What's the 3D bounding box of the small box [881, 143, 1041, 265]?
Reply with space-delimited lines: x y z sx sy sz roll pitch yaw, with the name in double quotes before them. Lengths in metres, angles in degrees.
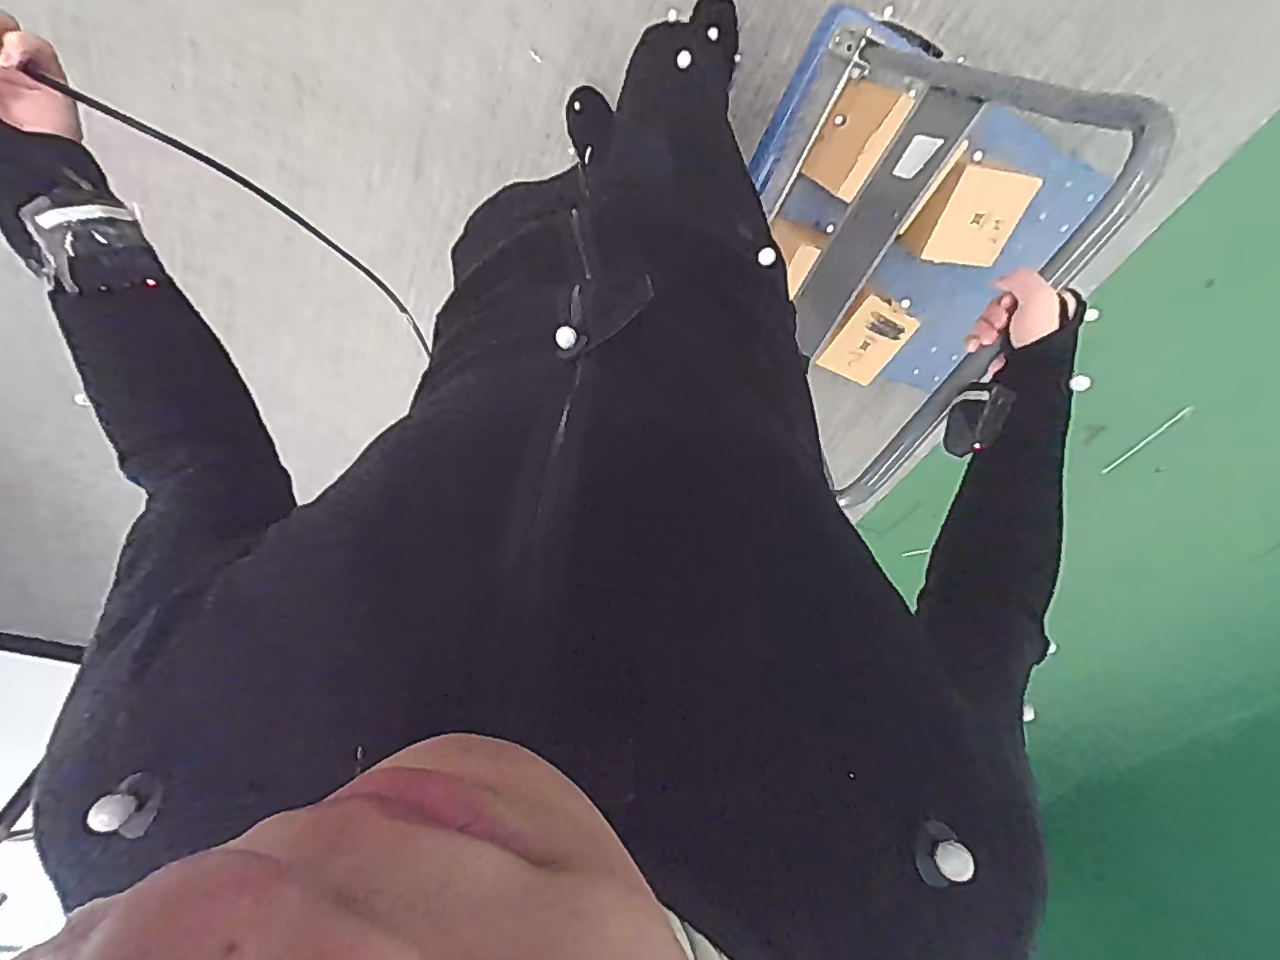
"small box" 0.616 -0.547 1.066 0.179 0.176 0.168 0 134 -15
